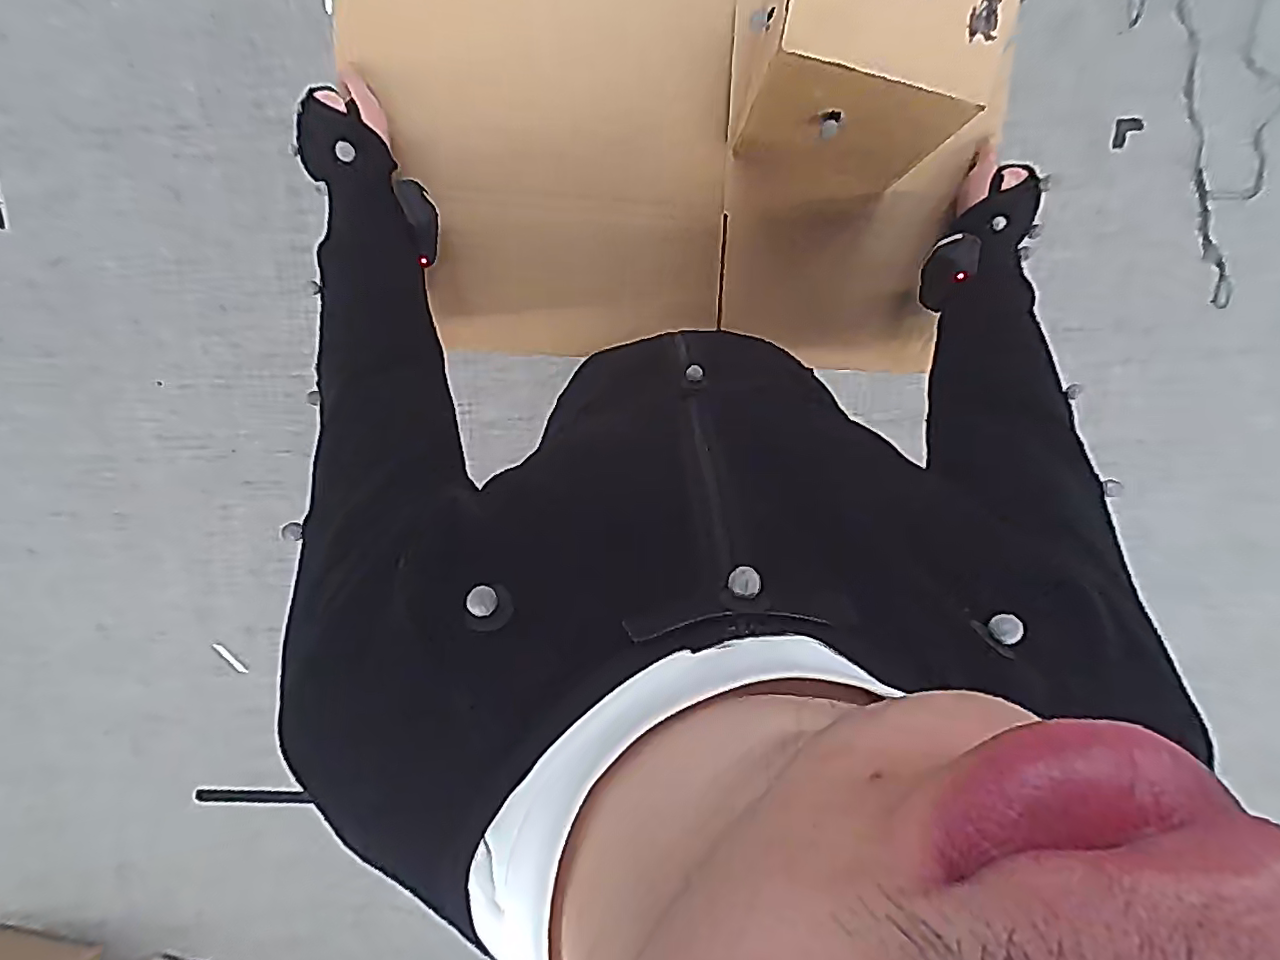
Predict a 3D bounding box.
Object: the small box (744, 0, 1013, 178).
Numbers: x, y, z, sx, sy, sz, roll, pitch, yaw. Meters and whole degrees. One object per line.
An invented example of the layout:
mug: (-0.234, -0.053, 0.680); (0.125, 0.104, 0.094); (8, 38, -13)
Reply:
small box: (0.207, -0.409, 0.498); (0.179, 0.176, 0.168); (12, 98, -3)
